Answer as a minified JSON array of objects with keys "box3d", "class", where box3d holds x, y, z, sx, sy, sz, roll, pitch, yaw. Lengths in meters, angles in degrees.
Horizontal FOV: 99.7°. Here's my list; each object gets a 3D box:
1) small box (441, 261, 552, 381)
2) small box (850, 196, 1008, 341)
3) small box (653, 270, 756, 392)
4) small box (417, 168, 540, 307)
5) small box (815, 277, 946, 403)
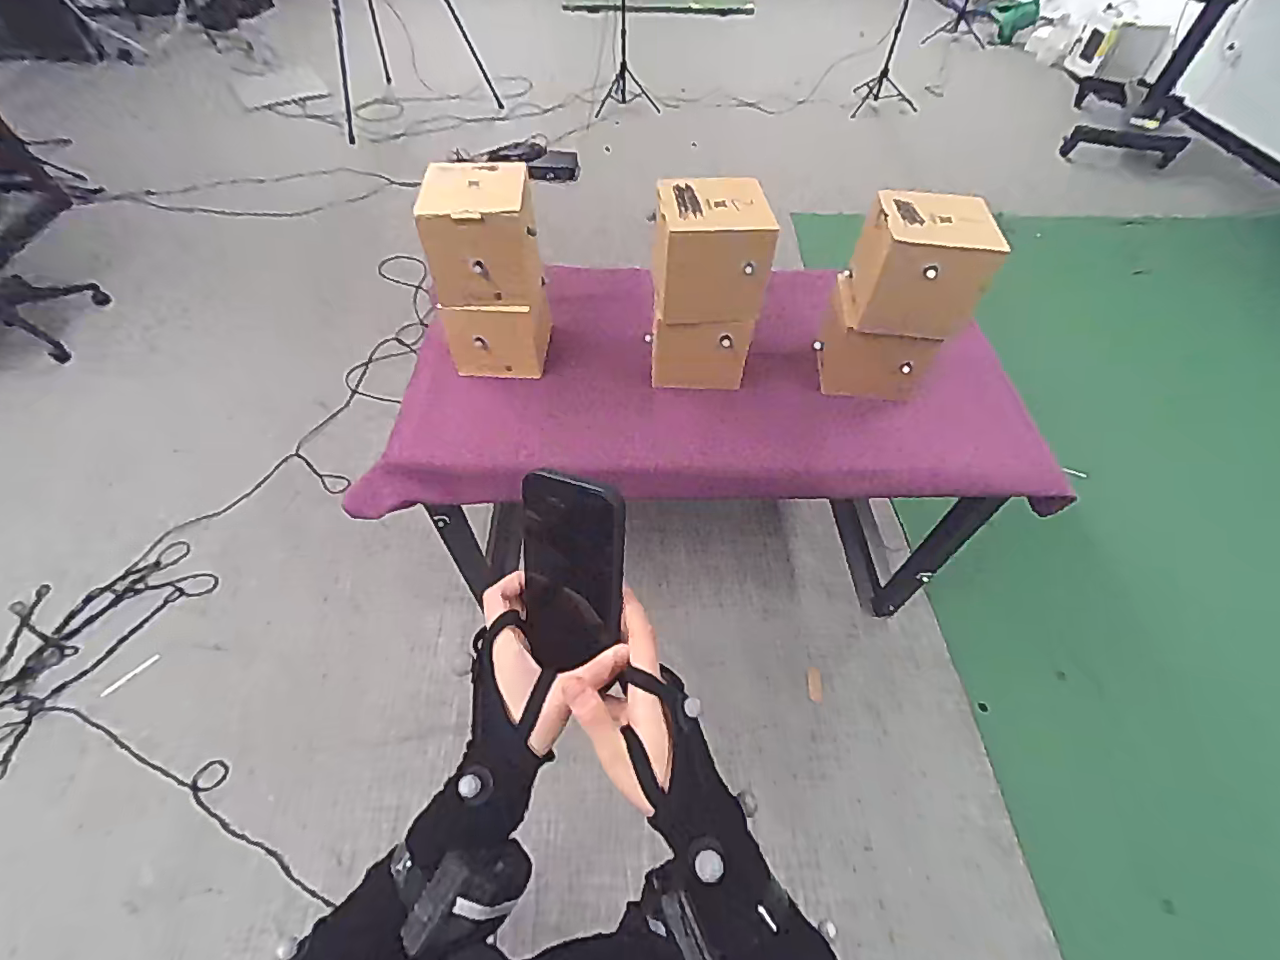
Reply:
[{"box3d":[-0.272,-0.314,1.074,0.168,0.176,0.179,2,53,0],"class":"small box"},{"box3d":[0.469,-0.354,0.916,0.179,0.176,0.168,6,53,3],"class":"small box"},{"box3d":[0.118,-0.289,1.062,0.179,0.176,0.168,1,53,0],"class":"small box"},{"box3d":[-0.270,-0.419,0.947,0.168,0.176,0.179,-2,54,-4],"class":"small box"},{"box3d":[0.457,-0.269,1.056,0.179,0.176,0.168,6,53,4],"class":"small box"}]
